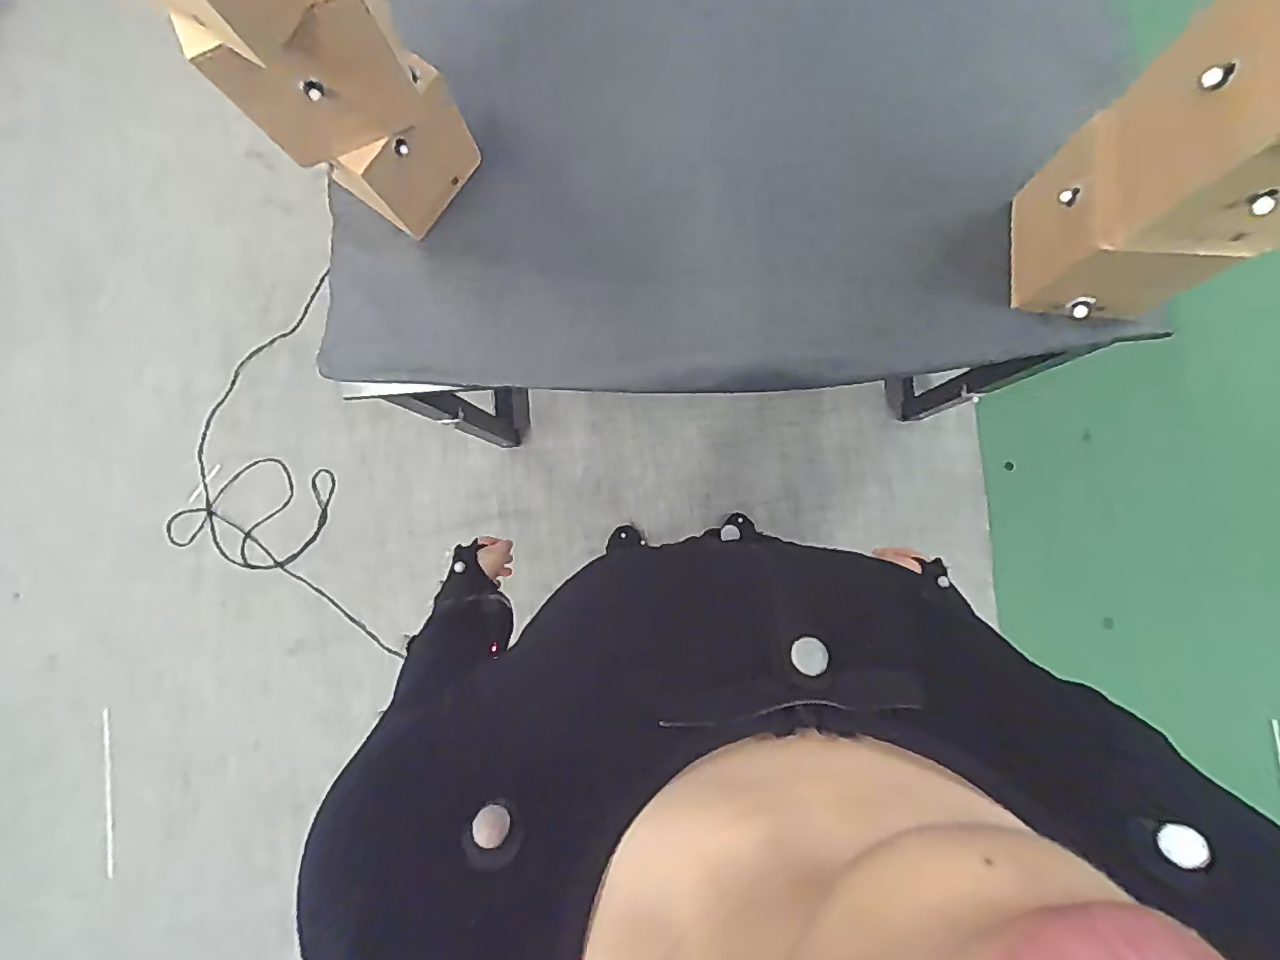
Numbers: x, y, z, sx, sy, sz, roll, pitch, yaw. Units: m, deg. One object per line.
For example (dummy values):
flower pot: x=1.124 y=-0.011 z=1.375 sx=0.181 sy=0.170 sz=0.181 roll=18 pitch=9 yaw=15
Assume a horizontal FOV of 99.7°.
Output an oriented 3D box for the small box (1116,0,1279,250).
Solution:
small box: x=0.609 y=-0.344 z=0.521 sx=0.168 sy=0.176 sz=0.179 roll=3 pitch=82 yaw=5

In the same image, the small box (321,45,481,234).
small box: x=-0.359 y=-0.485 z=0.755 sx=0.179 sy=0.176 sz=0.168 roll=37 pitch=89 yaw=5

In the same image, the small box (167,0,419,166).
small box: x=-0.368 y=-0.492 z=0.591 sx=0.179 sy=0.176 sz=0.168 roll=-22 pitch=86 yaw=2

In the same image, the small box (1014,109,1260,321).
small box: x=0.606 y=-0.323 z=0.682 sx=0.168 sy=0.176 sz=0.179 roll=5 pitch=84 yaw=5
